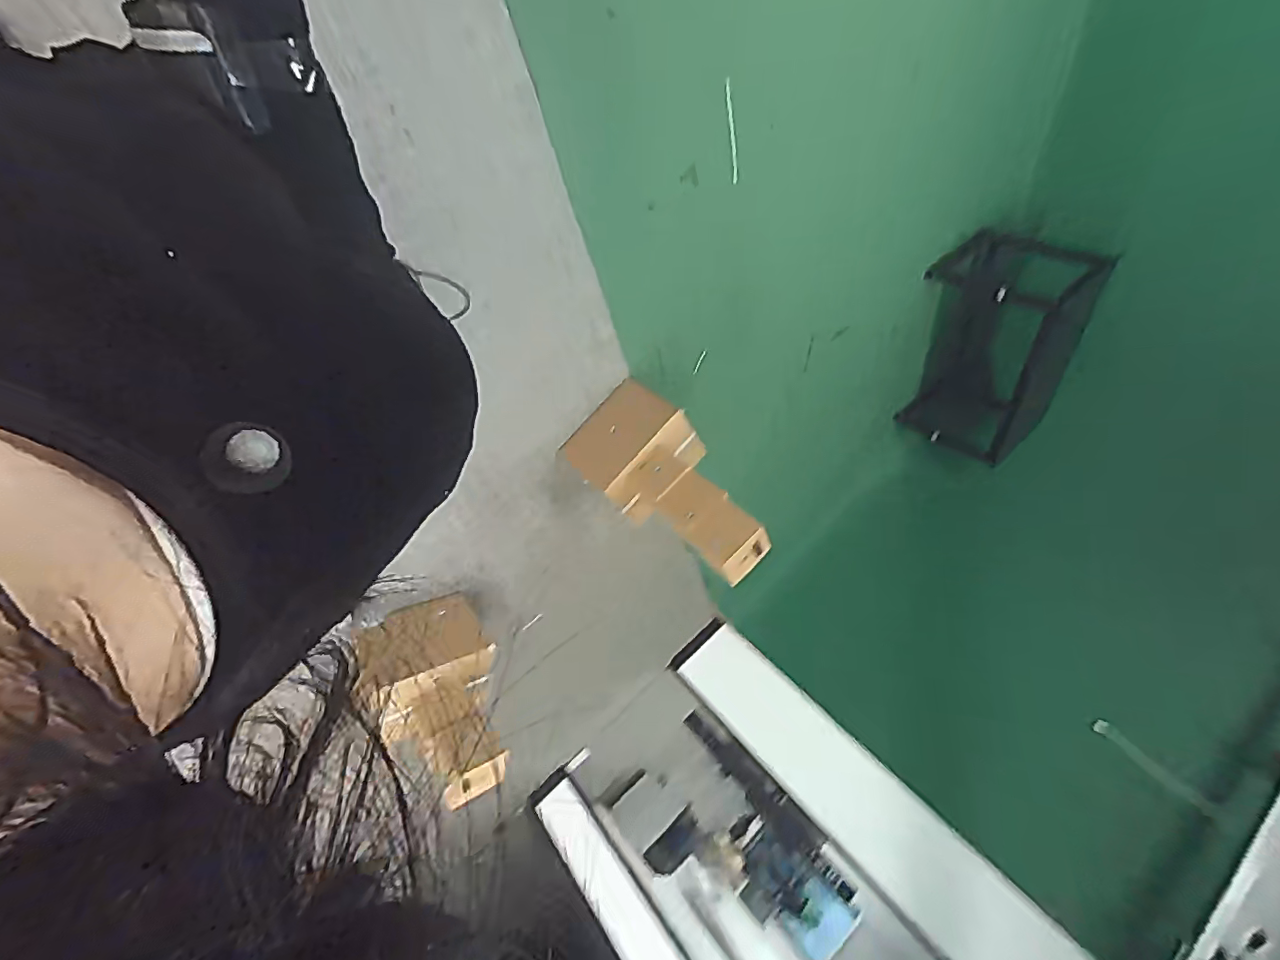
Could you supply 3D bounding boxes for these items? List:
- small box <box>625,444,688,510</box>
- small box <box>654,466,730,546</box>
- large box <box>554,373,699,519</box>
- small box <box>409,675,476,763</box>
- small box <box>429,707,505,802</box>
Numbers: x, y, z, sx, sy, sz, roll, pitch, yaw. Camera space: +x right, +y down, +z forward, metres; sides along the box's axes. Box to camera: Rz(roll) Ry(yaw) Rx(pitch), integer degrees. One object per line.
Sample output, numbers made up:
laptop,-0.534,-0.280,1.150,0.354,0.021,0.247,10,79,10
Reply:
small box,0.074,-0.003,1.920,0.168,0.176,0.179,-44,142,-8
small box,0.175,0.084,1.828,0.179,0.176,0.168,-43,142,-9
large box,-0.050,-0.132,2.094,0.408,0.320,0.320,-49,144,-5
small box,-0.666,0.797,1.820,0.179,0.176,0.168,-15,132,-37
small box,-0.554,0.866,1.719,0.179,0.176,0.168,-13,130,-41
